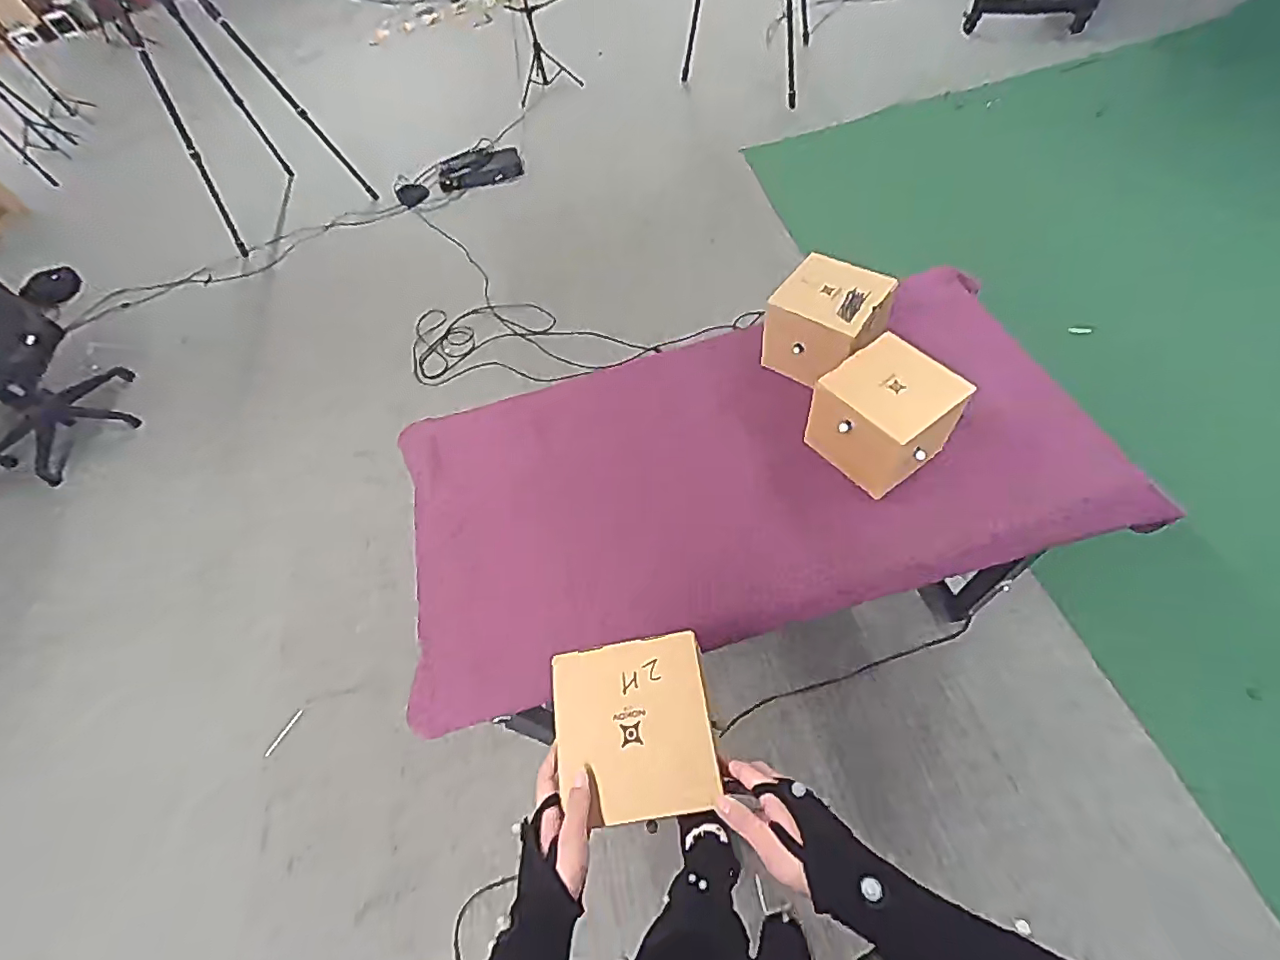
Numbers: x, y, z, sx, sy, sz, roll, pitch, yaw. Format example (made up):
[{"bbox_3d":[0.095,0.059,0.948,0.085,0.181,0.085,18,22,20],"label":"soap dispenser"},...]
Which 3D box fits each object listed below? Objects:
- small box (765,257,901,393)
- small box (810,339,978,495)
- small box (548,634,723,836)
[{"bbox_3d":[0.360,-0.286,1.038,0.179,0.176,0.168,33,68,26],"label":"small box"},{"bbox_3d":[0.413,-0.096,0.913,0.168,0.176,0.179,-34,58,-12],"label":"small box"},{"bbox_3d":[0.000,0.296,0.633,0.168,0.176,0.179,-11,60,5],"label":"small box"}]
